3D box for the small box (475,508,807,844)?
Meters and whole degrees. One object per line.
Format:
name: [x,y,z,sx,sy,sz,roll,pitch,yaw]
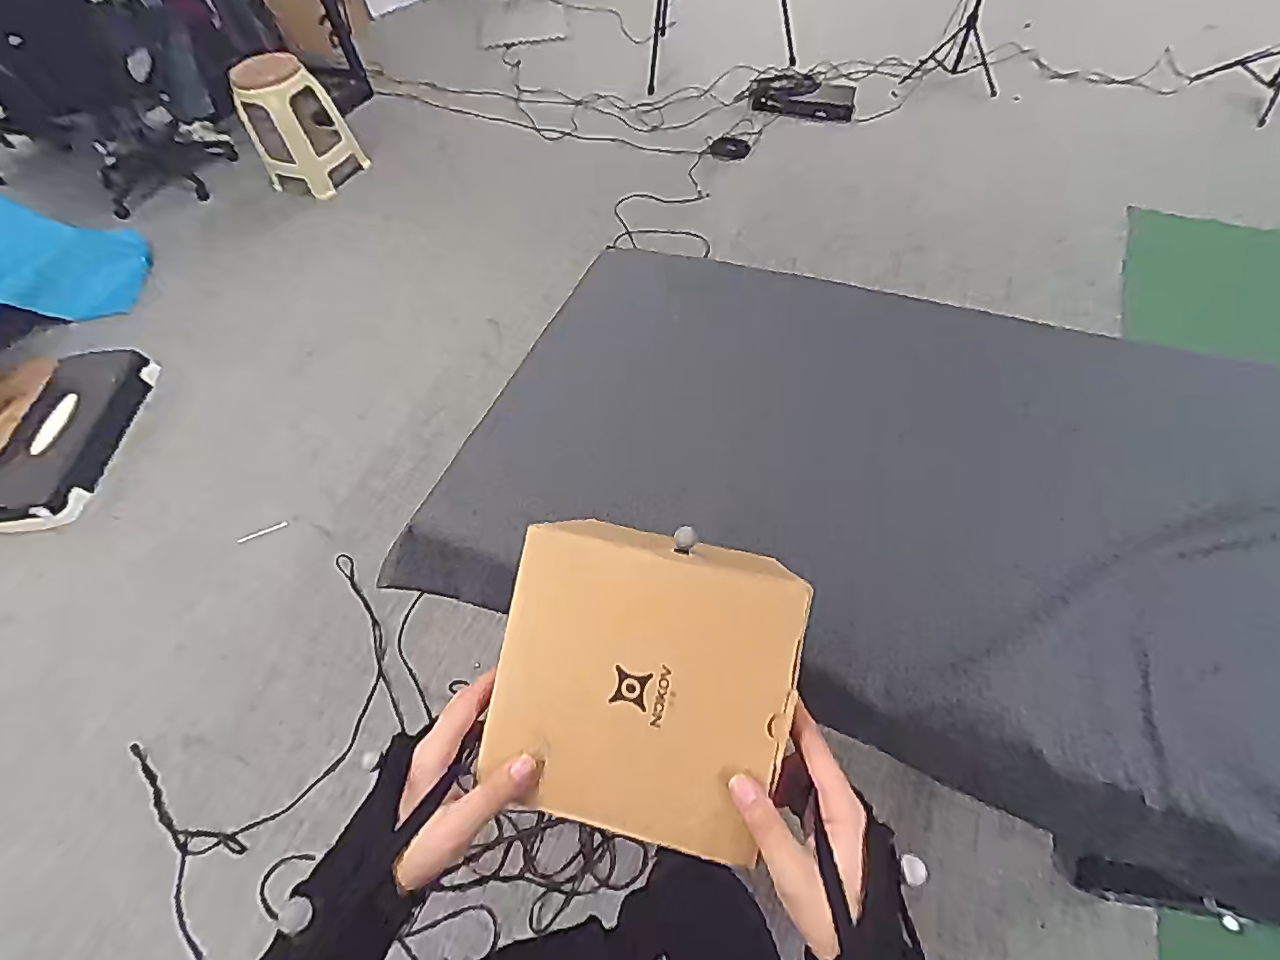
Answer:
small box: [0.007,0.120,0.404,0.179,0.176,0.168,11,87,7]
